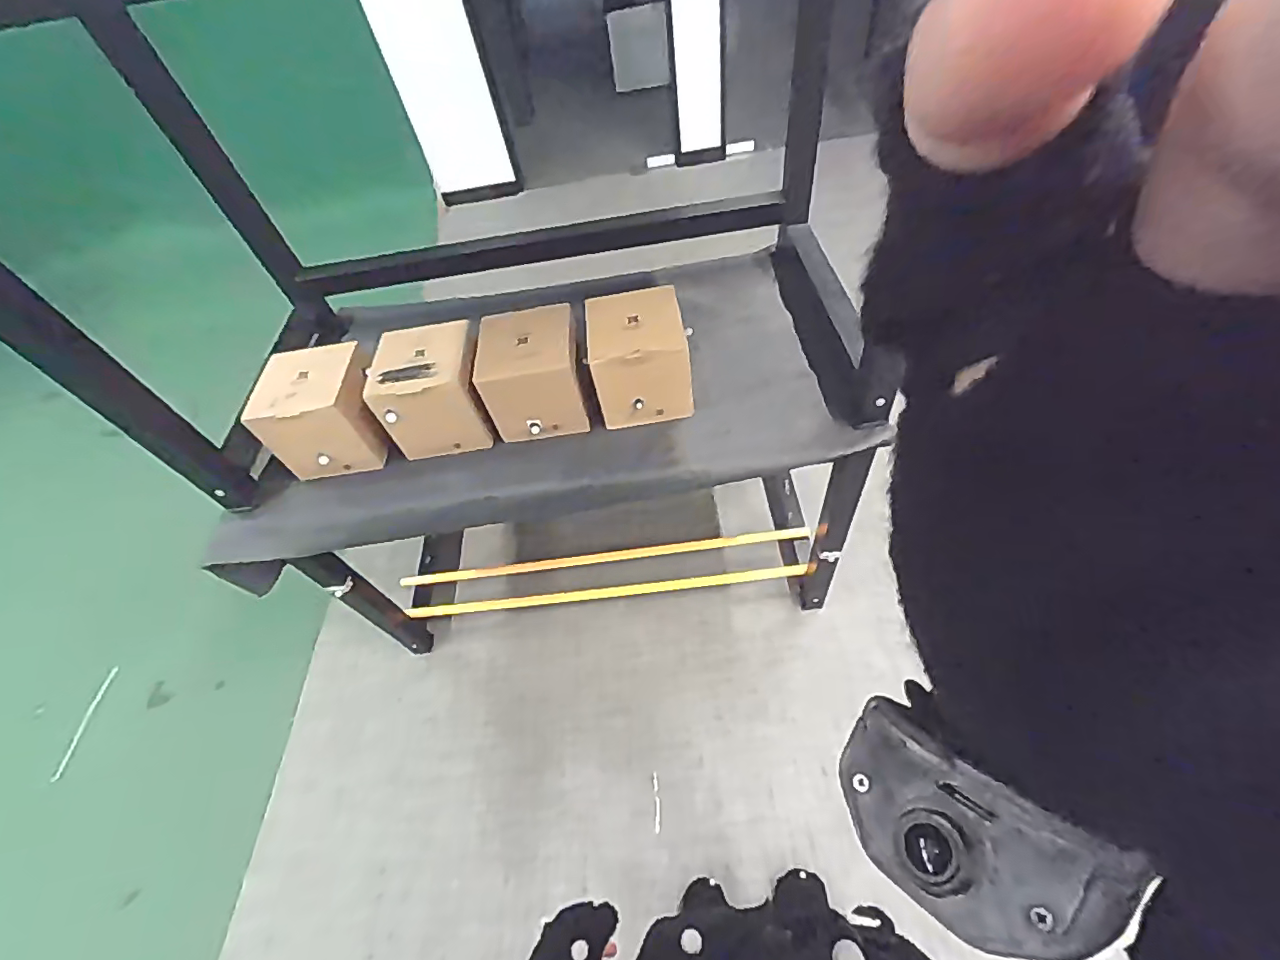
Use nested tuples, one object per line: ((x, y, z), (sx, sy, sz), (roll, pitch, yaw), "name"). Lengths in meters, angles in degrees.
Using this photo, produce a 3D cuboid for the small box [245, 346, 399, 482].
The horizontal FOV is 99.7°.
((-0.575, -0.120, 1.009), (0.168, 0.176, 0.179), (-8, 52, 2), "small box")
